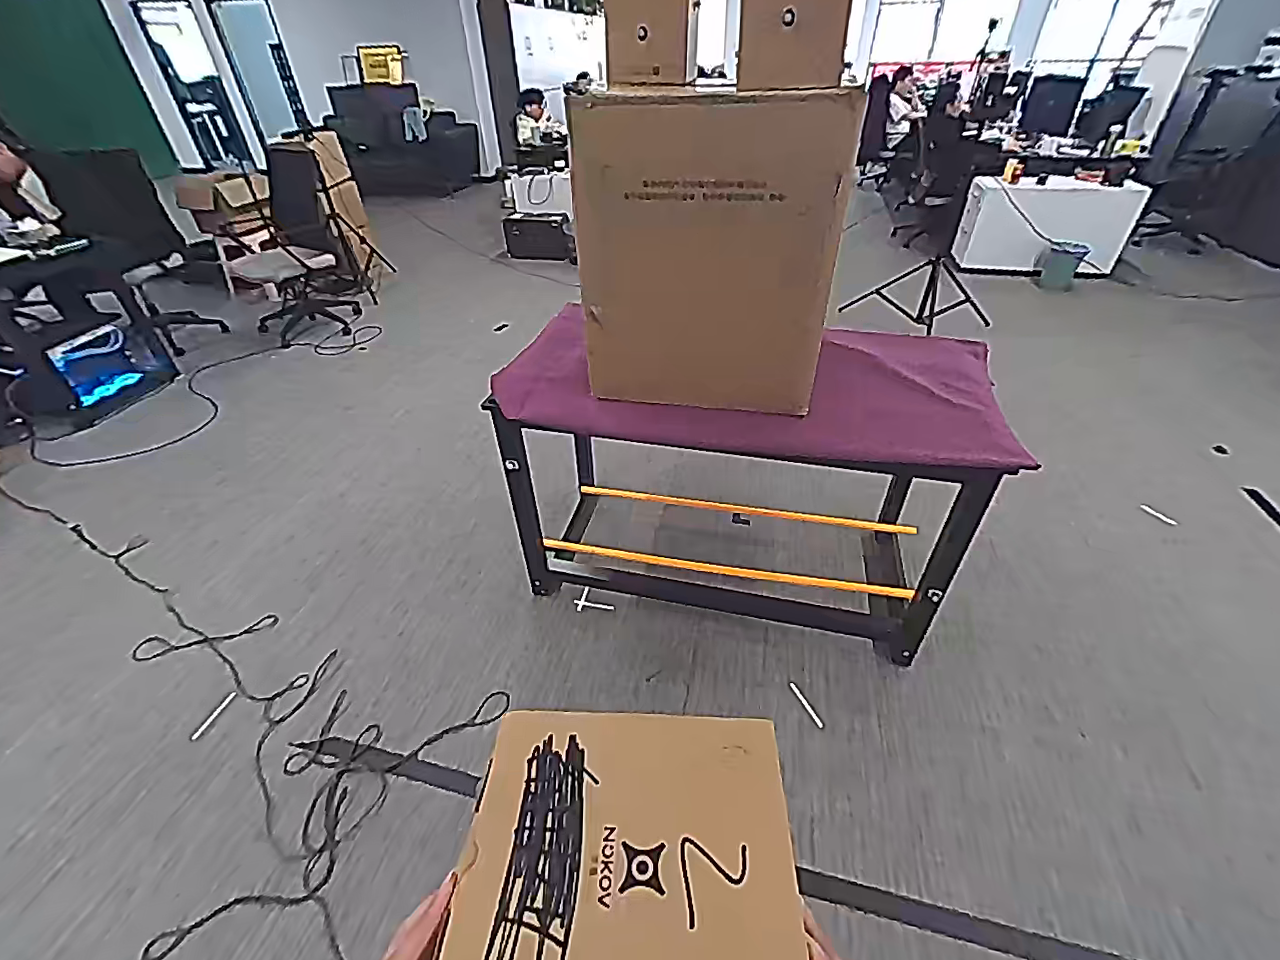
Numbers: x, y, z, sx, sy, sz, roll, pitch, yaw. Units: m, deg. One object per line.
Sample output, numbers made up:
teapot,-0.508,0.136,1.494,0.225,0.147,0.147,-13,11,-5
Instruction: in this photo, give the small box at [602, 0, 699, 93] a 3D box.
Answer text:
small box,0.028,-0.903,1.110,0.168,0.176,0.179,8,40,10
